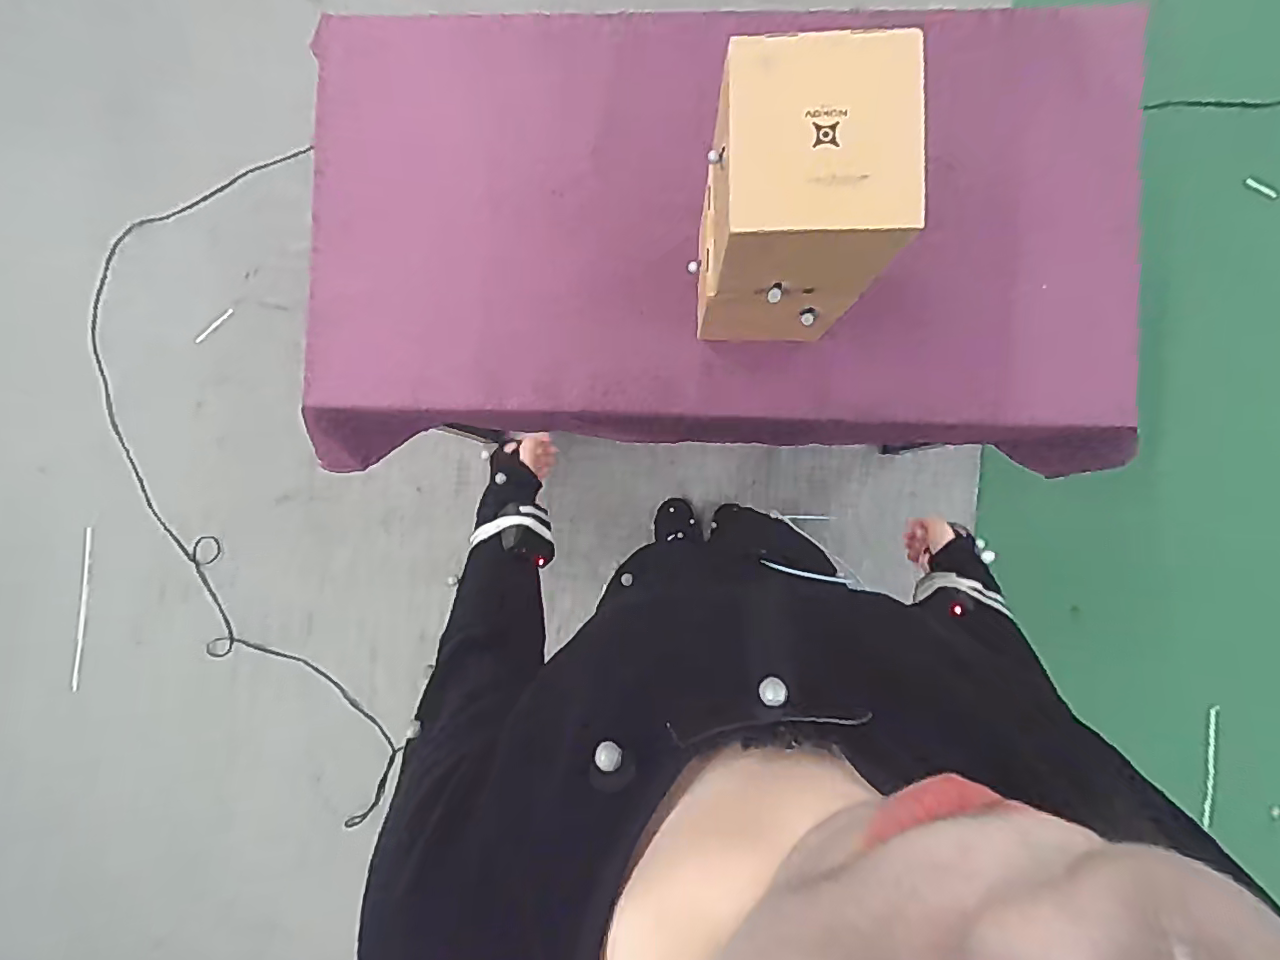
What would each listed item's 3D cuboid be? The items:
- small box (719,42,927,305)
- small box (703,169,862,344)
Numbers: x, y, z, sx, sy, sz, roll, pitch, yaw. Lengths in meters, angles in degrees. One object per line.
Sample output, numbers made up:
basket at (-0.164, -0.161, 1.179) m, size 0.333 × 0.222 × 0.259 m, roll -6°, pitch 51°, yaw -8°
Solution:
small box at (0.170, -0.296, 0.553) m, size 0.168 × 0.176 × 0.179 m, roll 2°, pitch 88°, yaw 4°
small box at (0.180, -0.286, 0.716) m, size 0.179 × 0.176 × 0.168 m, roll 3°, pitch 87°, yaw 3°
